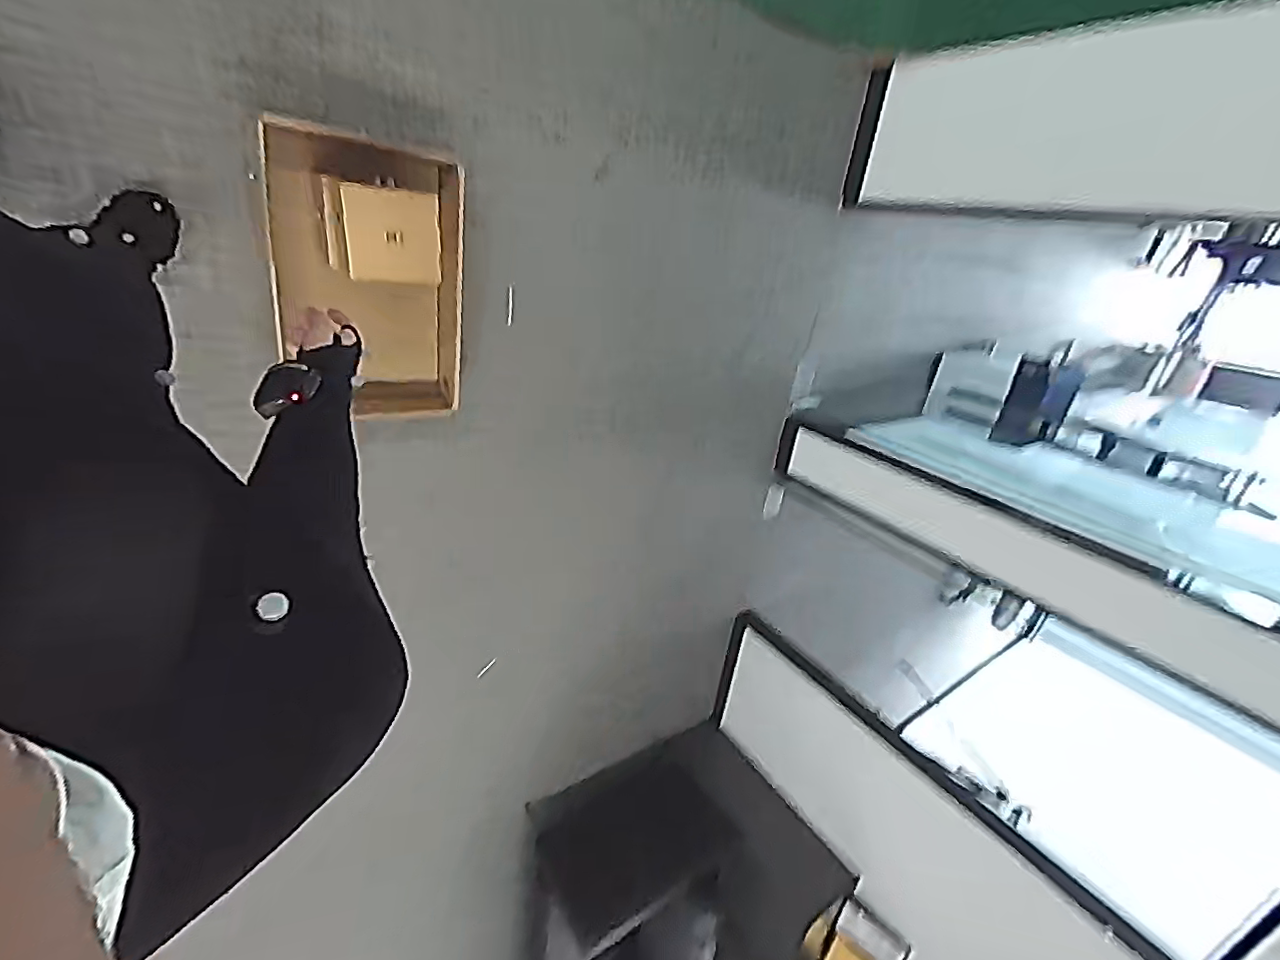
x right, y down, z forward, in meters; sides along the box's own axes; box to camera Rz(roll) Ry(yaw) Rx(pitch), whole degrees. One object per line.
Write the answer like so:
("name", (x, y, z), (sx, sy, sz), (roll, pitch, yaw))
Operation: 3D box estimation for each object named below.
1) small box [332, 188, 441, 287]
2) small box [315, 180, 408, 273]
("small box", (-0.527, -0.501, 1.118), (0.179, 0.176, 0.168), (-11, 121, -34))
("small box", (-0.629, -0.568, 1.225), (0.168, 0.176, 0.179), (-8, 121, -34))
